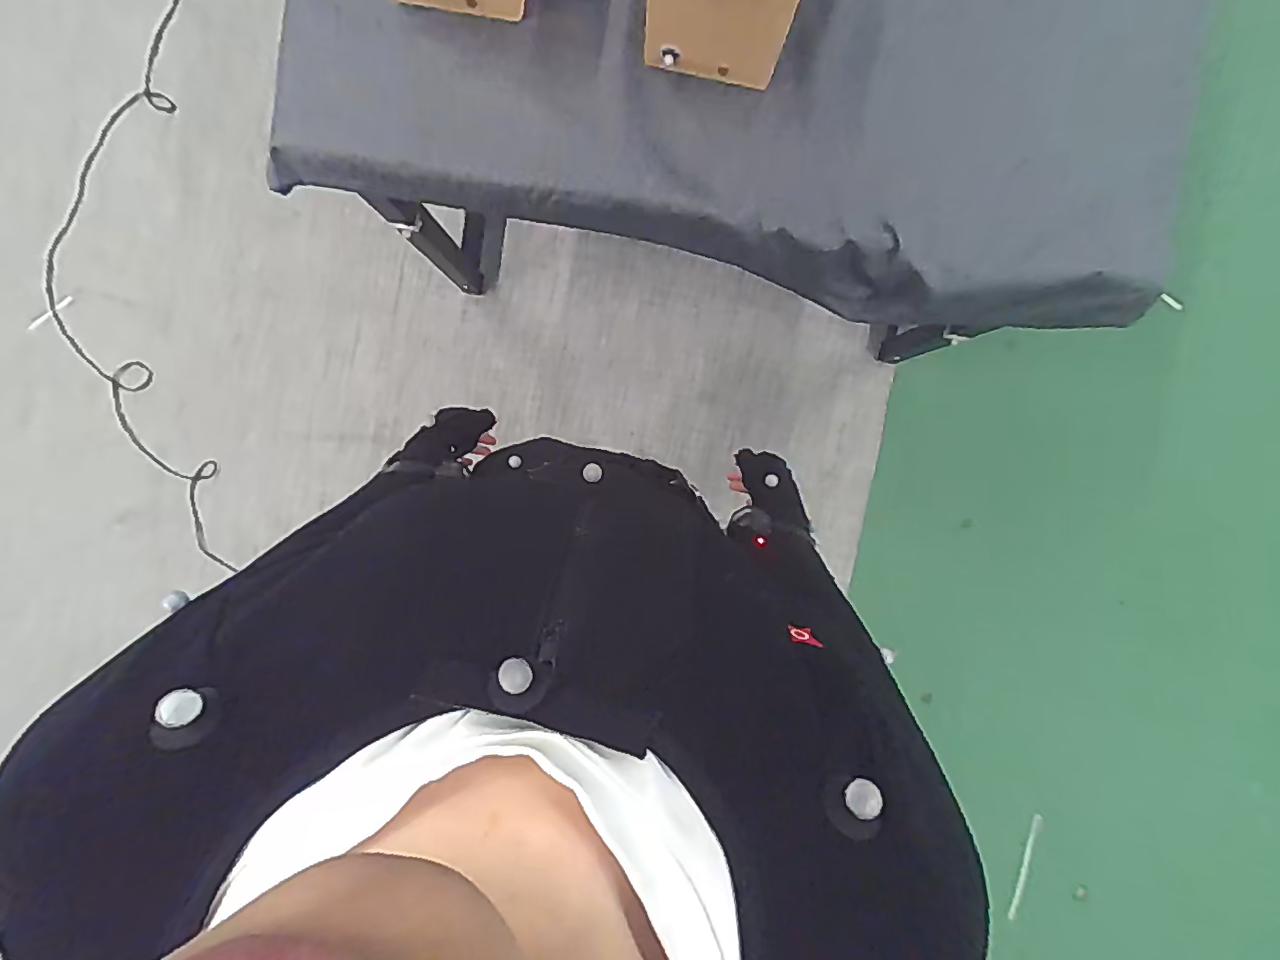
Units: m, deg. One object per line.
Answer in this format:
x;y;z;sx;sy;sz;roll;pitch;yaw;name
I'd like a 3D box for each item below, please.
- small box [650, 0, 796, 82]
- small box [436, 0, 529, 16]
0.107;-0.612;0.628;0.168;0.176;0.179;11;92;-1;small box
-0.215;-0.691;0.622;0.168;0.176;0.179;8;94;-1;small box
